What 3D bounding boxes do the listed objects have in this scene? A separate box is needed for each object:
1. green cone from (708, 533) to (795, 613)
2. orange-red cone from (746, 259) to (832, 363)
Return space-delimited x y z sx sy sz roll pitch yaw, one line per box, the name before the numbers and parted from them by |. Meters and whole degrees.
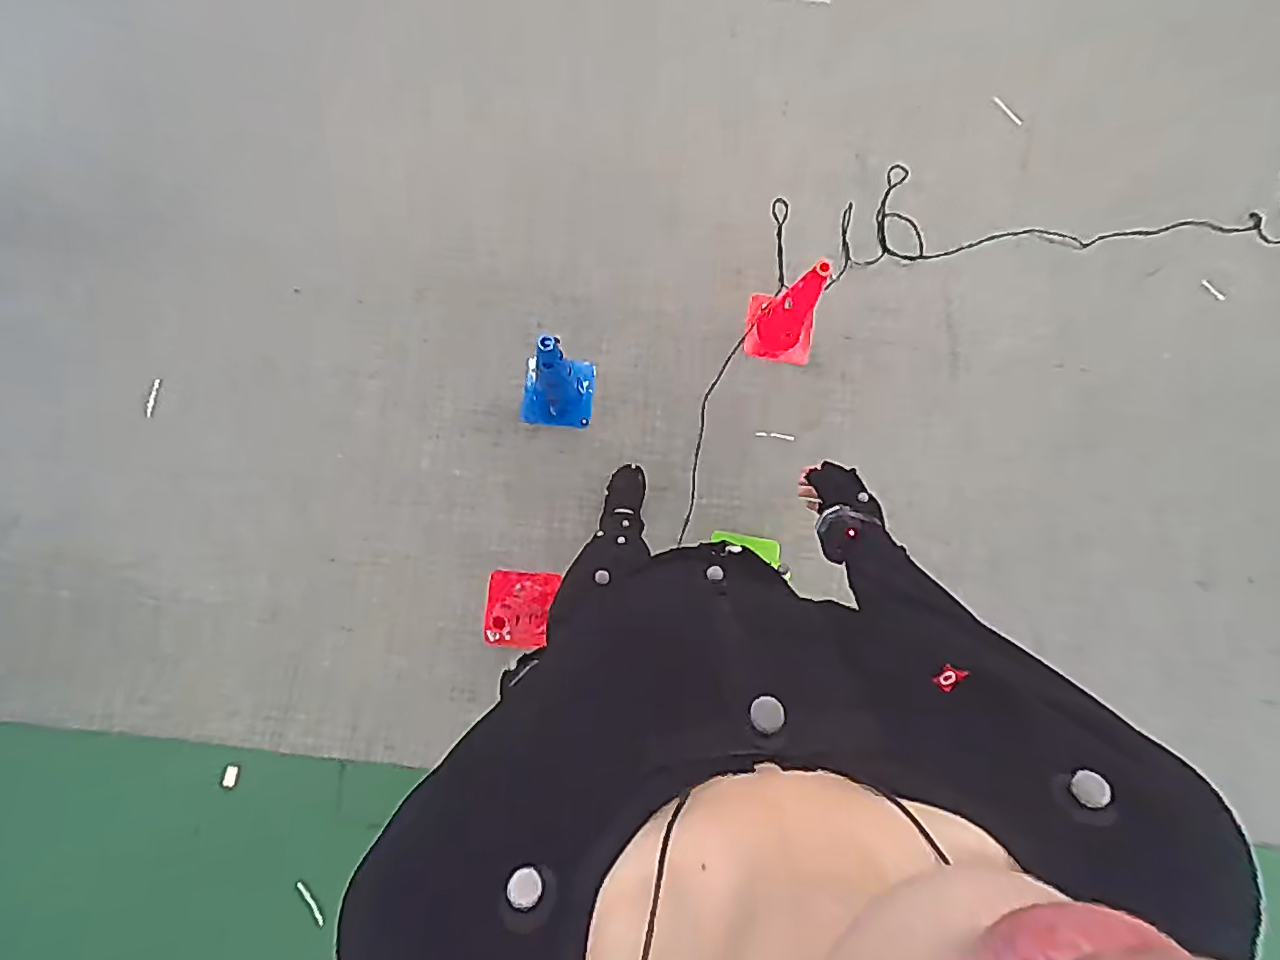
green cone | 0.308 0.228 1.336 0.200 0.368 0.202 9 80 -2
orange-red cone | 0.434 -0.482 1.457 0.198 0.360 0.199 11 82 0
